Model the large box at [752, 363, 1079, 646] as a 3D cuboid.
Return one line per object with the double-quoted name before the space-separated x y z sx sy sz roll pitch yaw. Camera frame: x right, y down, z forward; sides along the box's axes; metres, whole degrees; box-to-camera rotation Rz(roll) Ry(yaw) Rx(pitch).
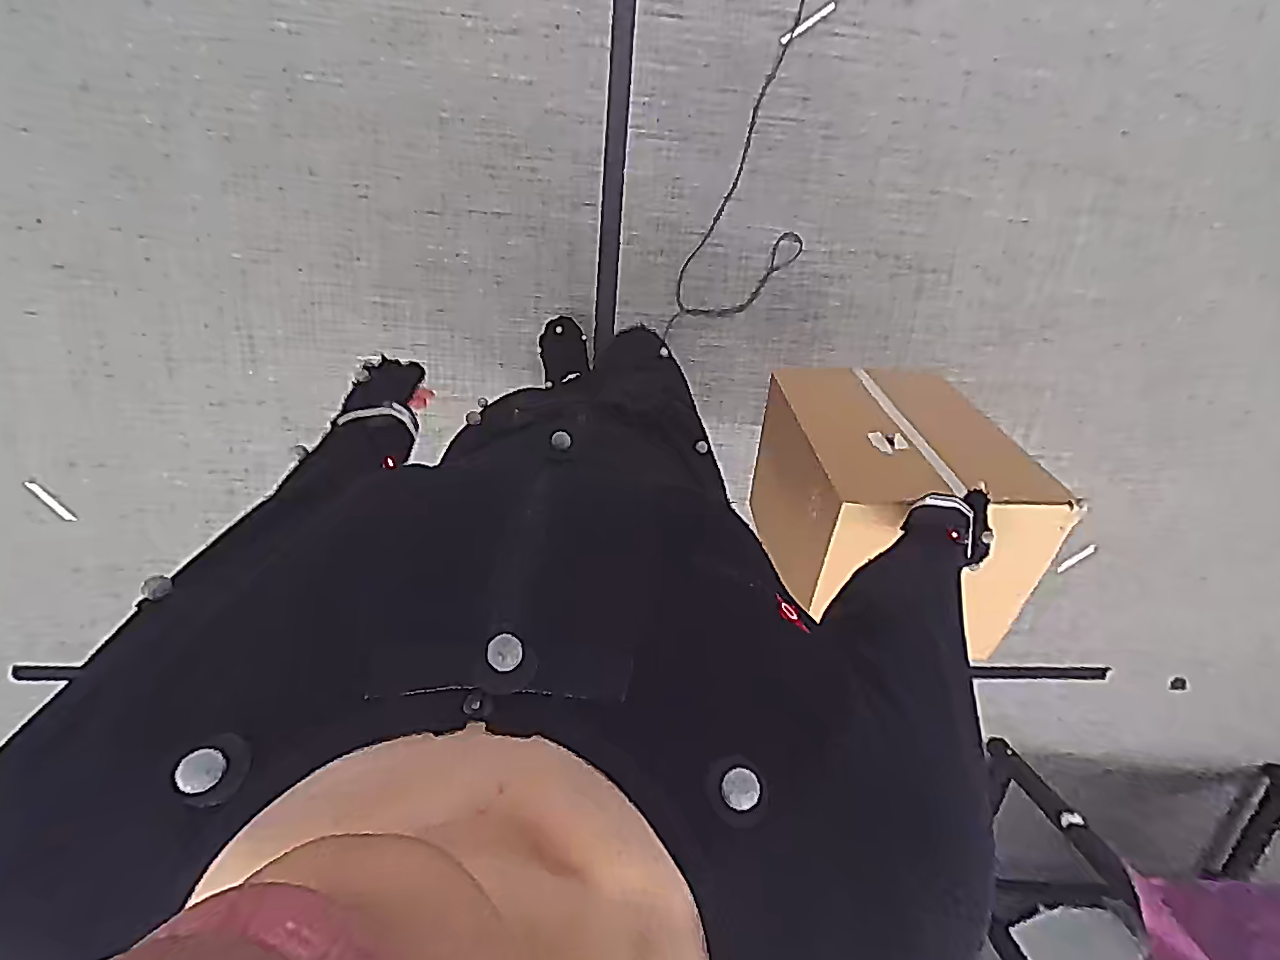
"large box" 0.404 0.029 0.936 0.320 0.408 0.320 0 128 -2
